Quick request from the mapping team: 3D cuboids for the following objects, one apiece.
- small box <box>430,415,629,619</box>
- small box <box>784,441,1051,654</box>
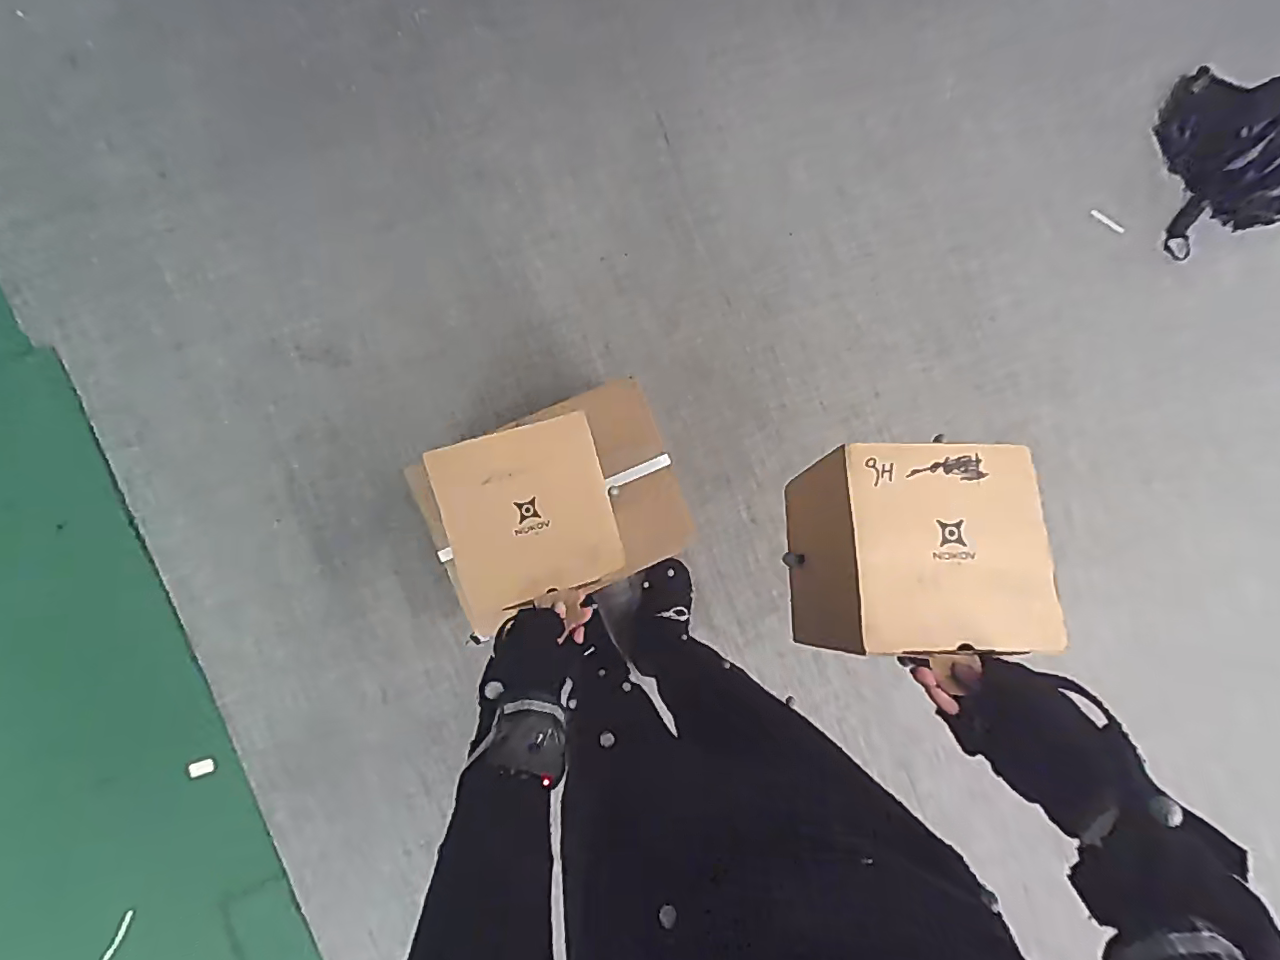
[{"bbox_3d":[-0.119,0.036,0.627,0.168,0.176,0.179,-17,92,-8],"label":"small box"},{"bbox_3d":[0.248,0.069,0.528,0.168,0.176,0.179,1,77,-4],"label":"small box"}]
